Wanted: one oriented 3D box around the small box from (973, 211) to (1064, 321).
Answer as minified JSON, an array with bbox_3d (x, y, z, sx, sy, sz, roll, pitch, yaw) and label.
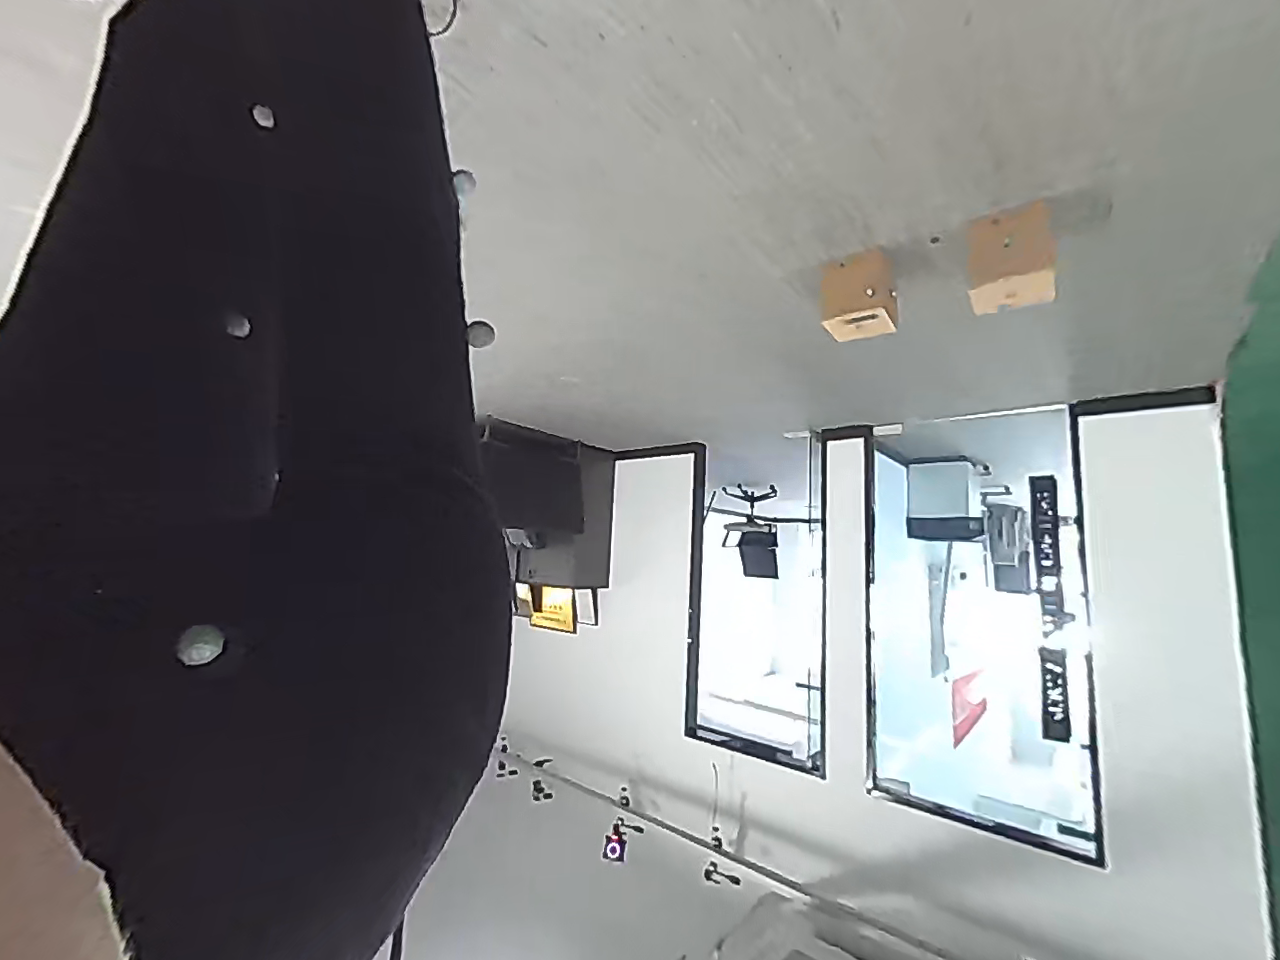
[{"bbox_3d":[0.895,-0.506,1.279,0.168,0.176,0.179,-3,170,38],"label":"small box"}]
